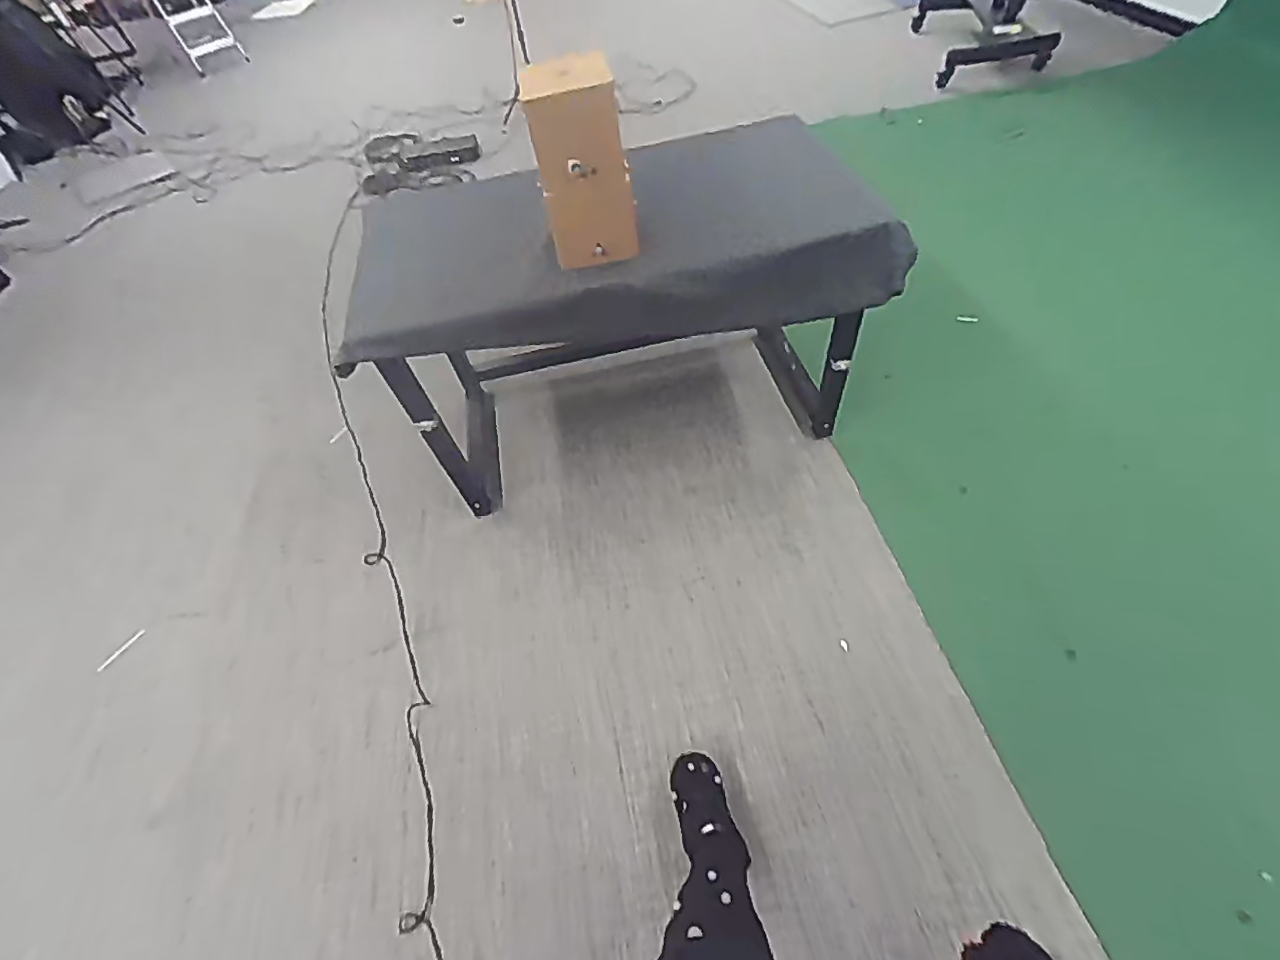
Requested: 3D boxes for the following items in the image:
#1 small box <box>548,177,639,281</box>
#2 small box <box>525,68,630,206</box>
[{"bbox_3d":[-0.099,-0.565,1.186,0.179,0.176,0.168,-11,52,-1],"label":"small box"},{"bbox_3d":[-0.121,-0.670,1.064,0.168,0.176,0.179,-13,53,0],"label":"small box"}]
